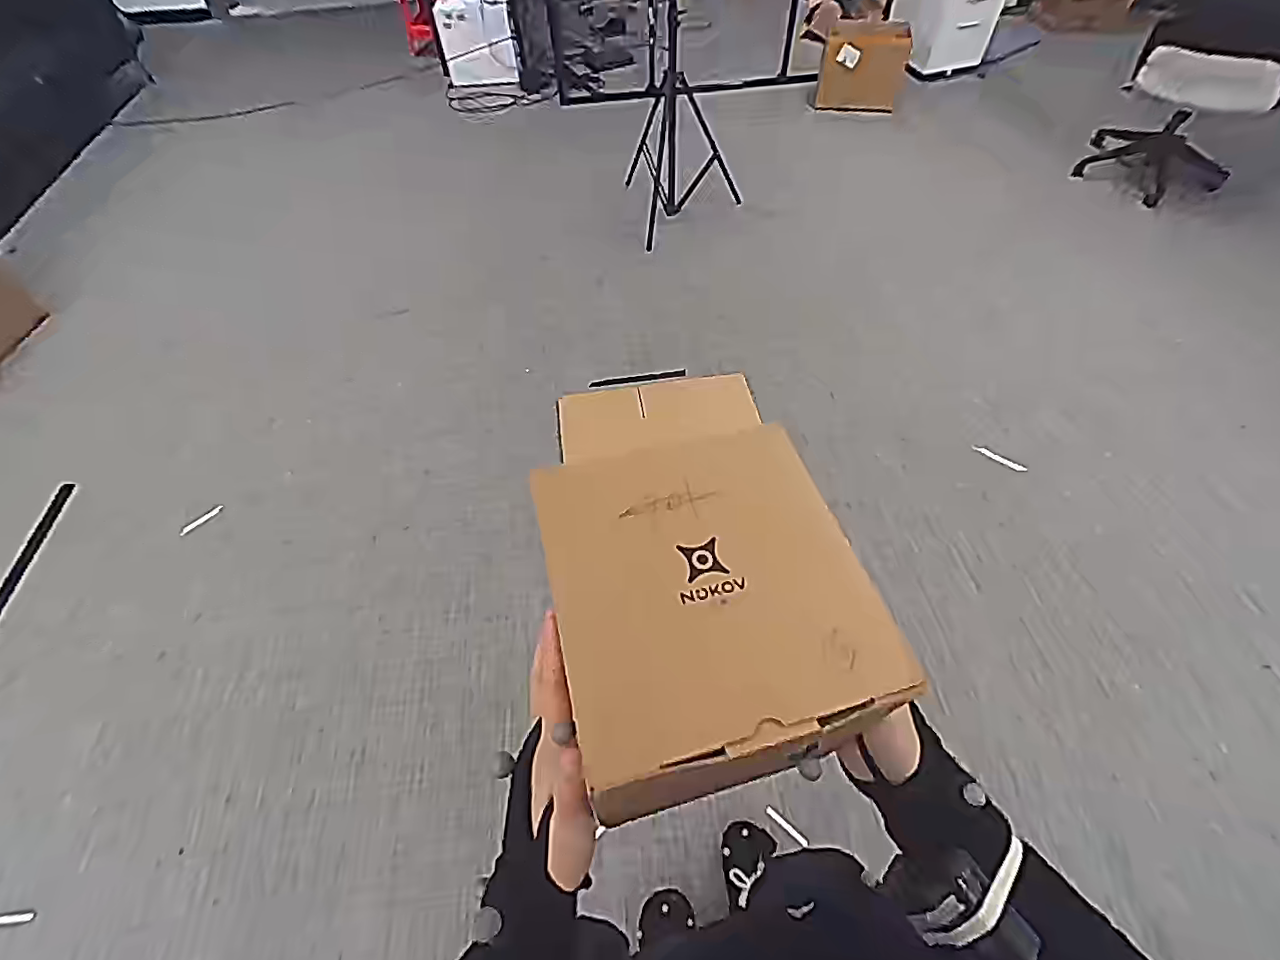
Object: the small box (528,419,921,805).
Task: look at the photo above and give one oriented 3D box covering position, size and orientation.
[{"bbox_3d":[0.032,0.091,0.351,0.168,0.176,0.179,-12,54,-12],"label":"small box"}]
